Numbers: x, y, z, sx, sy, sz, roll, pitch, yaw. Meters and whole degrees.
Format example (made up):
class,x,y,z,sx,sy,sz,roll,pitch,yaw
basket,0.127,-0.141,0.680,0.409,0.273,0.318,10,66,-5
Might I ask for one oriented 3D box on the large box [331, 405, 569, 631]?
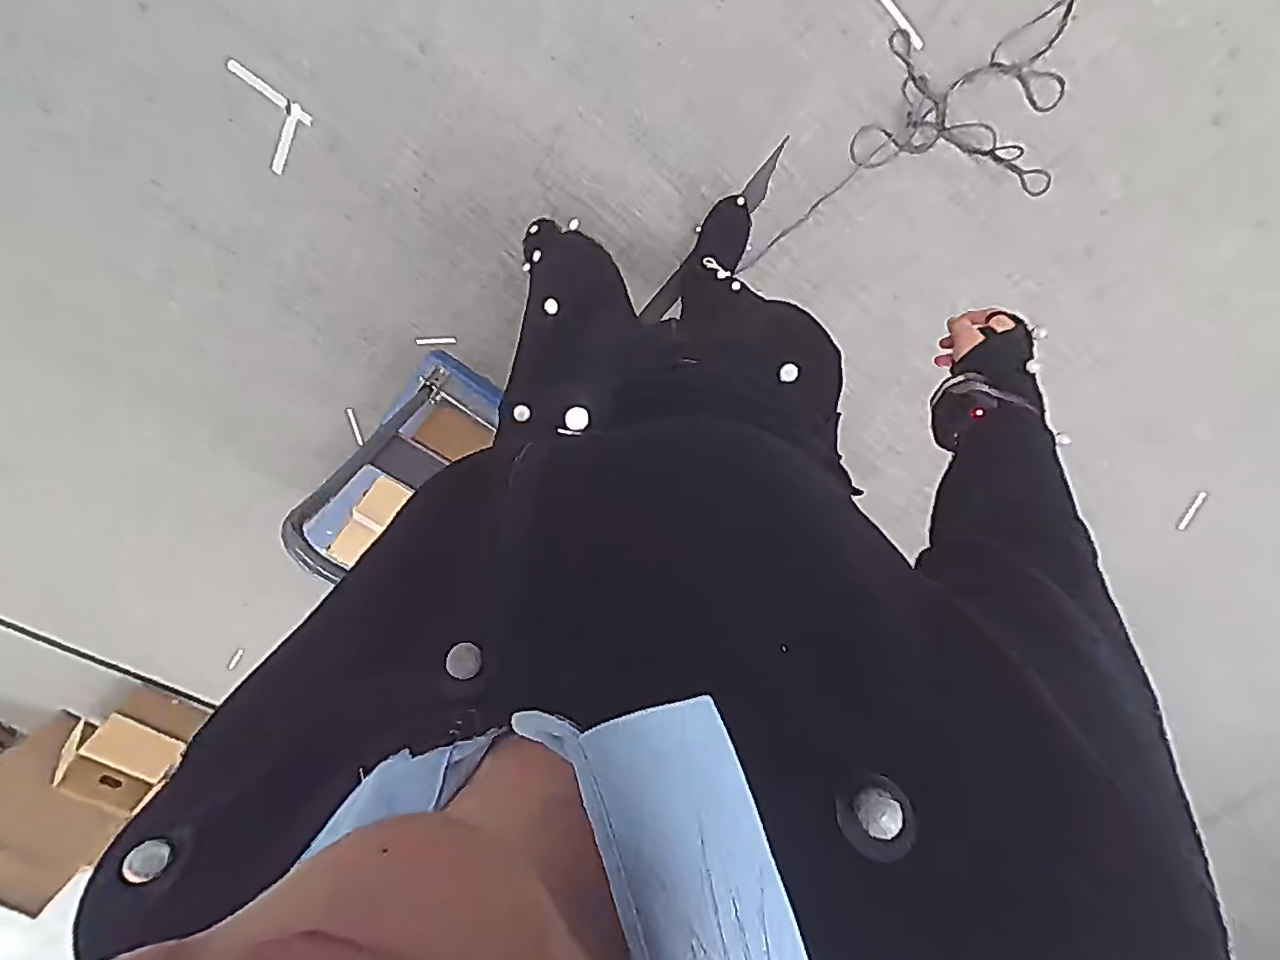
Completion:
class,x,y,z,sx,sy,sz,roll,pitch,yaw
large box,-0.441,0.092,1.336,0.408,0.320,0.320,37,116,-18
